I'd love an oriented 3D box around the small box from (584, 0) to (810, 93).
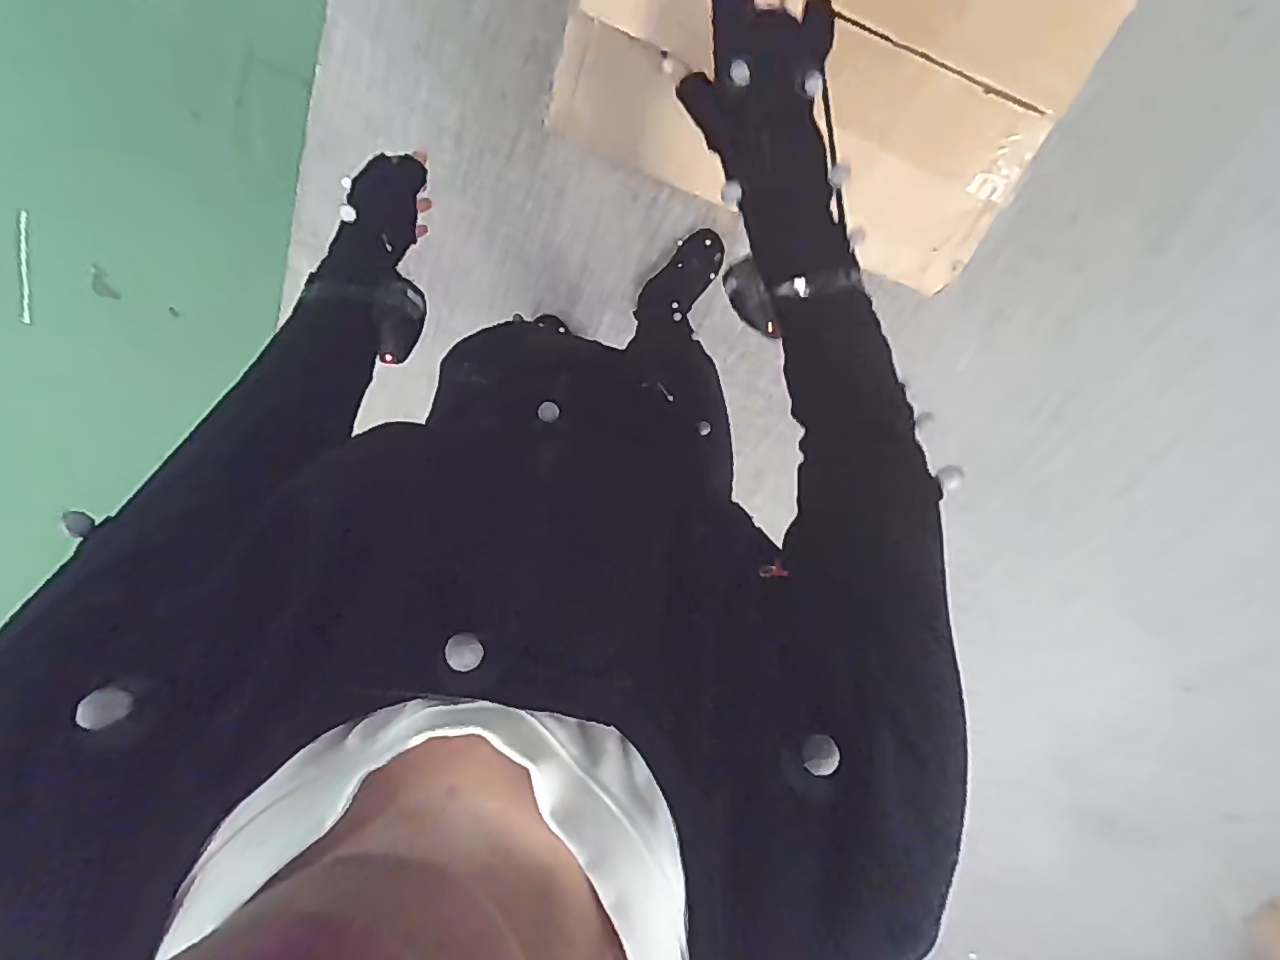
[{"bbox_3d":[0.071,-0.467,0.475,0.179,0.176,0.168,21,127,-5],"label":"small box"}]
